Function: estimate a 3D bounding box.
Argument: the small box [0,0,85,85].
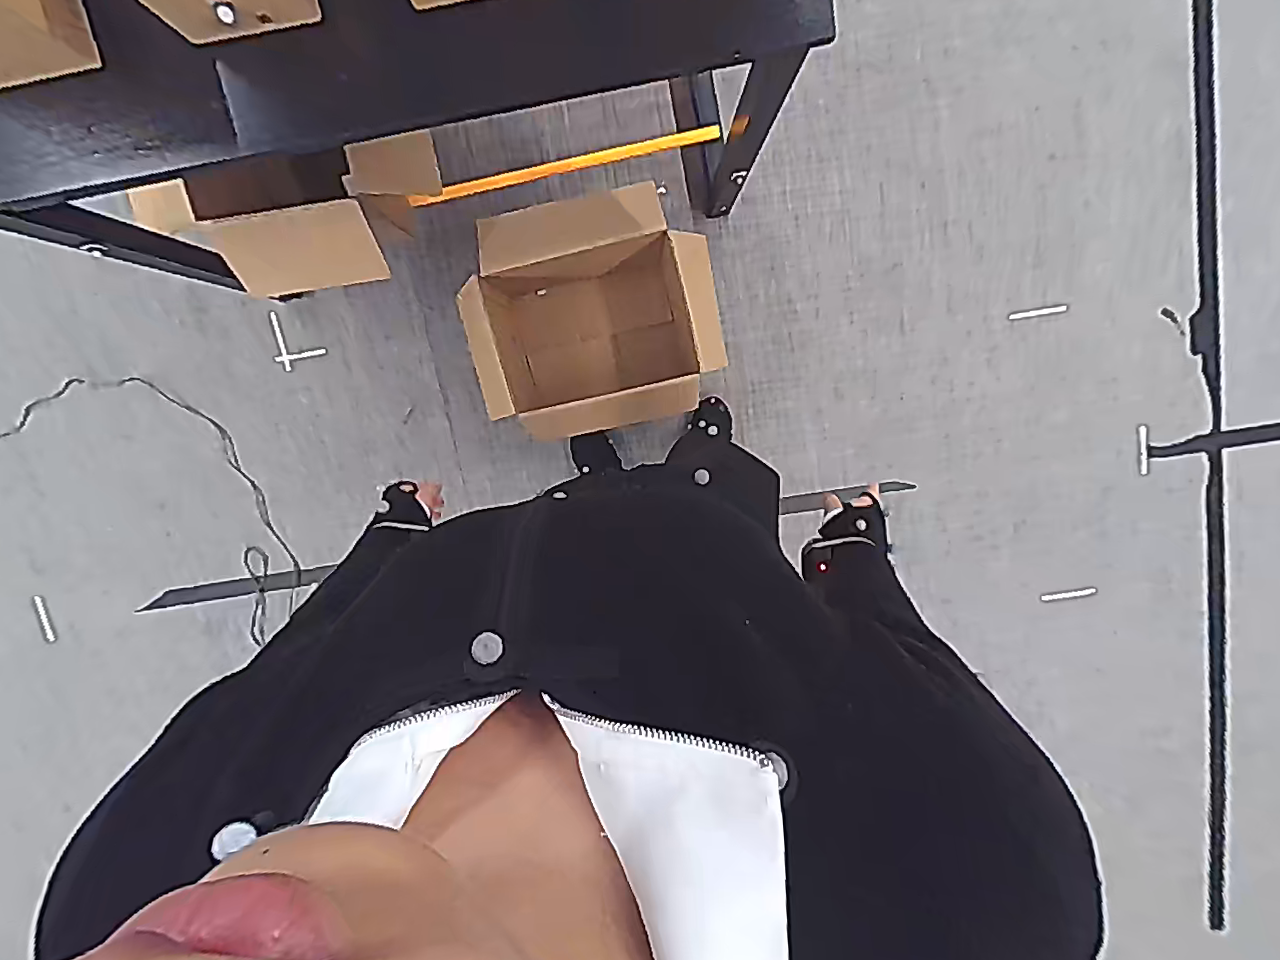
[{"bbox_3d":[-0.762,-0.561,0.578,0.179,0.176,0.168,-11,98,1],"label":"small box"}]

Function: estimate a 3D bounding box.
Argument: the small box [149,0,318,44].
[{"bbox_3d":[-0.484,-0.620,0.573,0.168,0.176,0.179,-9,99,1],"label":"small box"}]
